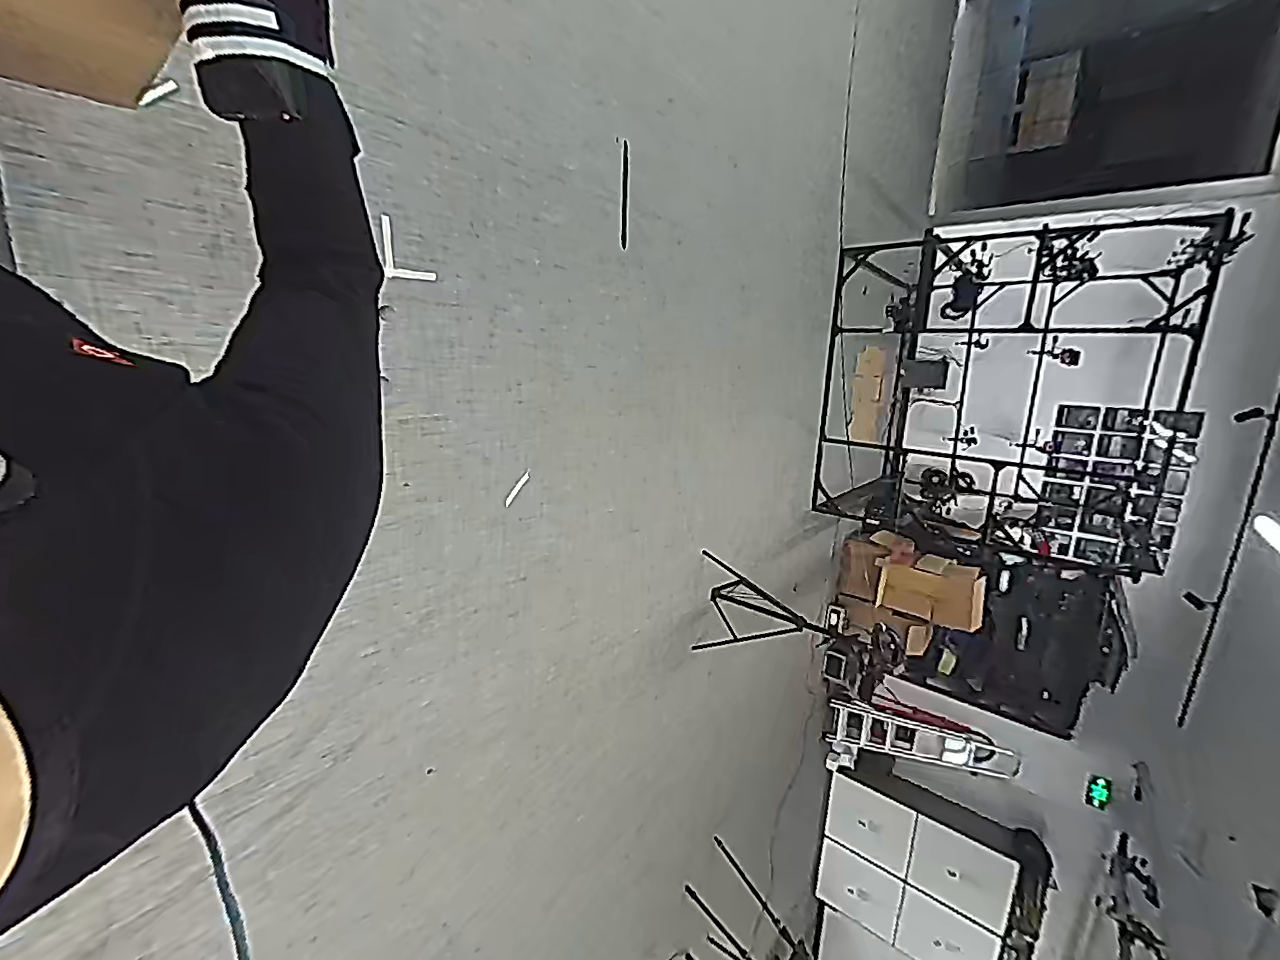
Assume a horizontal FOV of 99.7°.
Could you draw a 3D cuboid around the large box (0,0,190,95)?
[{"bbox_3d":[-0.494,-0.451,0.239,0.408,0.320,0.320,-16,110,-48],"label":"large box"}]
